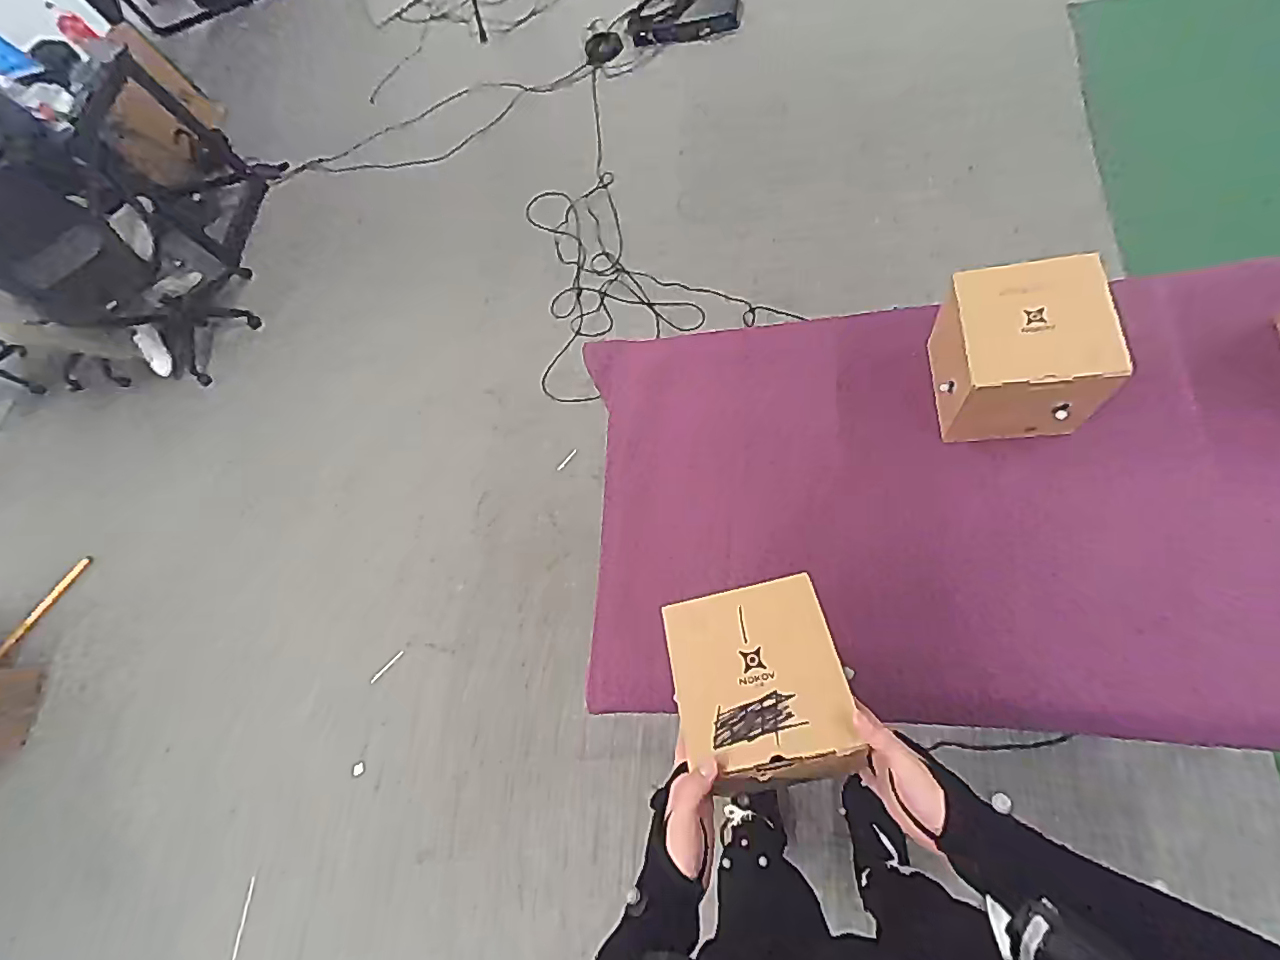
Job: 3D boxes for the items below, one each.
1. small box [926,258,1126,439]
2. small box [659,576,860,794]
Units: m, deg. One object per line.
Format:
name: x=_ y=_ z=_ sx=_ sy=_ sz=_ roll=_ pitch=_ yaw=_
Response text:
small box: x=0.503 y=-0.164 z=0.735 sx=0.168 sy=0.176 sz=0.179 roll=-3 pitch=68 yaw=16
small box: x=0.131 y=0.236 z=0.600 sx=0.168 sy=0.176 sz=0.179 roll=-16 pitch=52 yaw=8
